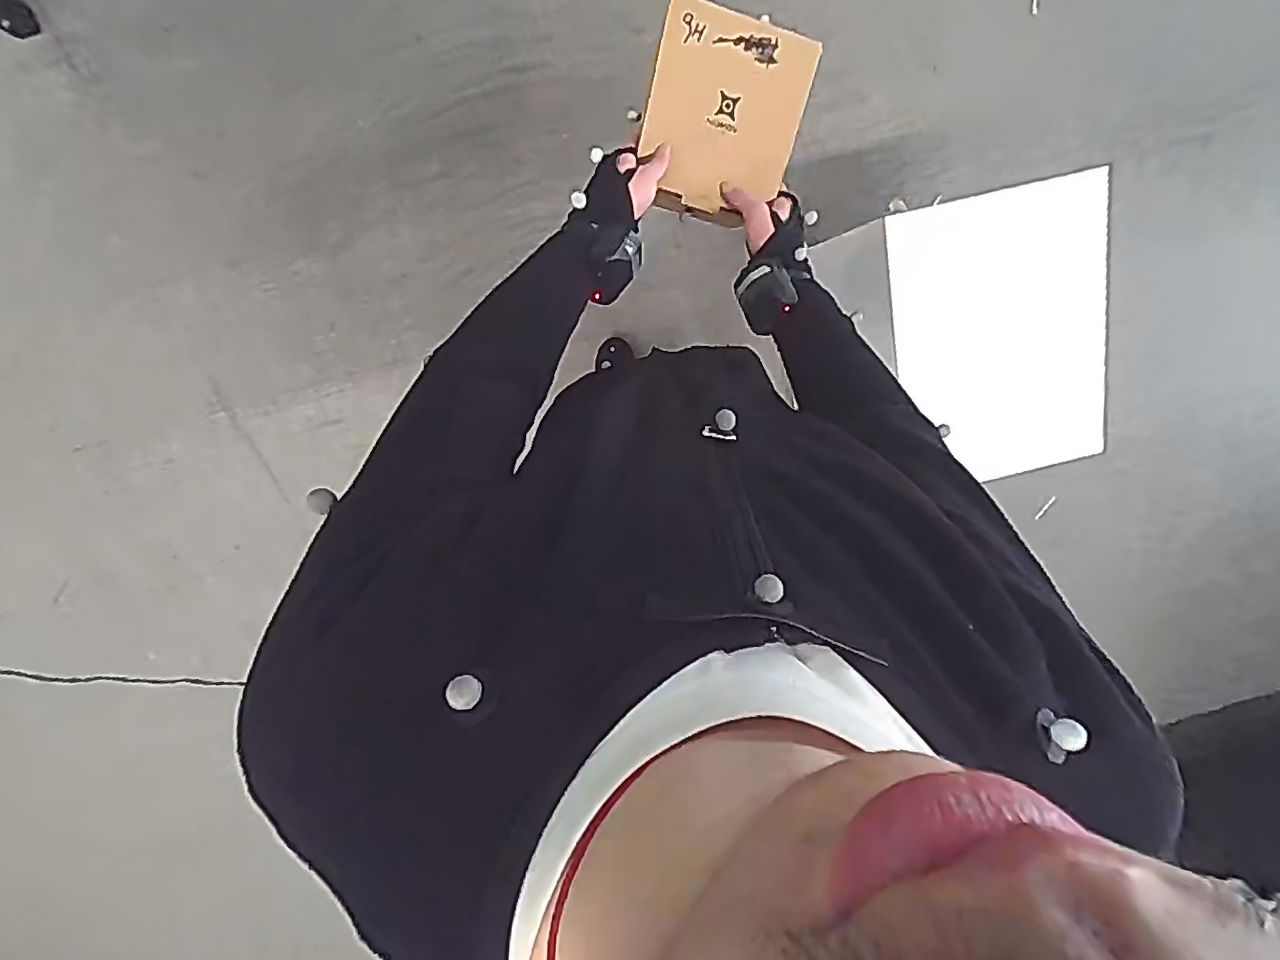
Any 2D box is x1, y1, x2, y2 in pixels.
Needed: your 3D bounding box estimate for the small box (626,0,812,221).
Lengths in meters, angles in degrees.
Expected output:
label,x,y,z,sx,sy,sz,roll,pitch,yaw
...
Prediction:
label,x,y,z,sx,sy,sz,roll,pitch,yaw
small box,0.079,-0.425,0.655,0.168,0.176,0.179,10,111,-9
